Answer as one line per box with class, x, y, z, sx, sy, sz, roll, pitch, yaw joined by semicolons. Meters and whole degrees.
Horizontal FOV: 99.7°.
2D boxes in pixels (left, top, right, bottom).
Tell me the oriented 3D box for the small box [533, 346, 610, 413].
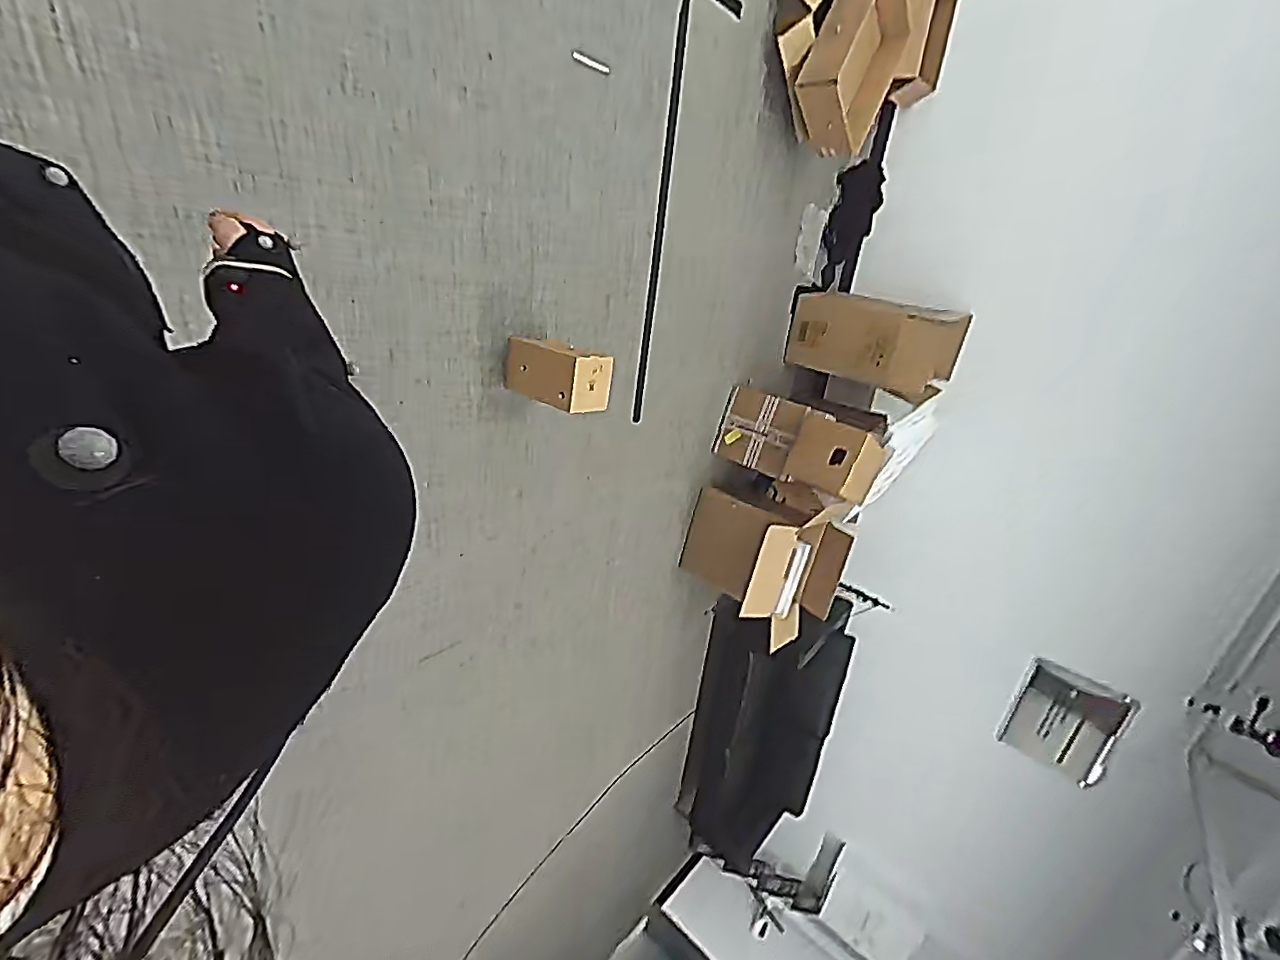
small box;-0.222;-0.323;1.725;0.168;0.176;0.179;-14;120;-49
